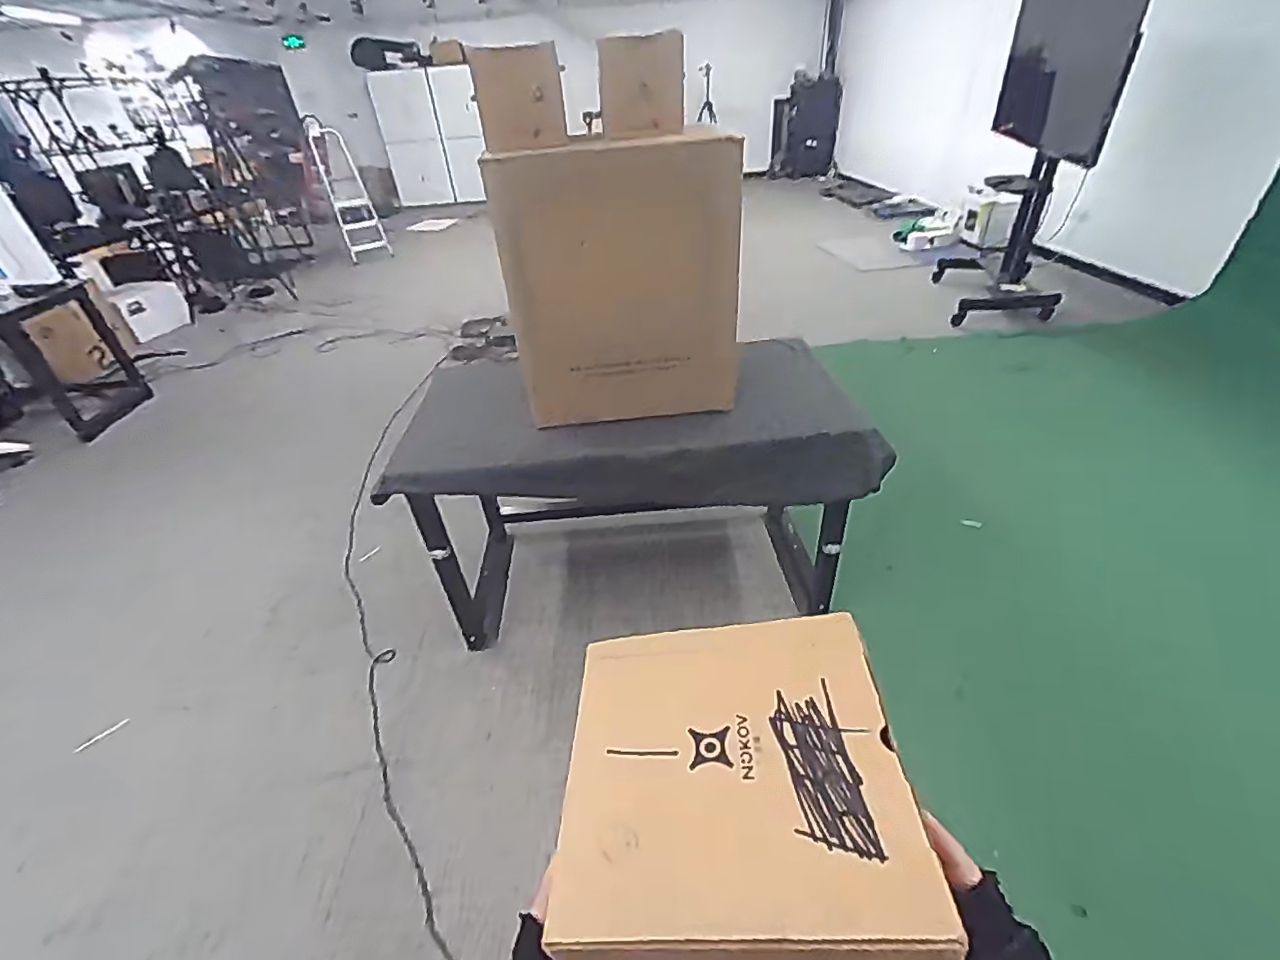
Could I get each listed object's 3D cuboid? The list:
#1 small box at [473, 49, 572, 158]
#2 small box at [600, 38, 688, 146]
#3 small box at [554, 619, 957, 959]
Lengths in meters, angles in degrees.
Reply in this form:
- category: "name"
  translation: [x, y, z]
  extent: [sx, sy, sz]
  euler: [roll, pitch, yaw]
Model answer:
- category: "small box"
  translation: [-0.232, -0.767, 1.107]
  extent: [0.168, 0.176, 0.179]
  euler: [-7, 37, -4]
- category: "small box"
  translation: [0.008, -0.803, 1.126]
  extent: [0.168, 0.176, 0.179]
  euler: [-5, 38, -2]
- category: "small box"
  translation: [0.061, 0.214, 0.341]
  extent: [0.179, 0.176, 0.168]
  euler: [-8, 33, 6]
